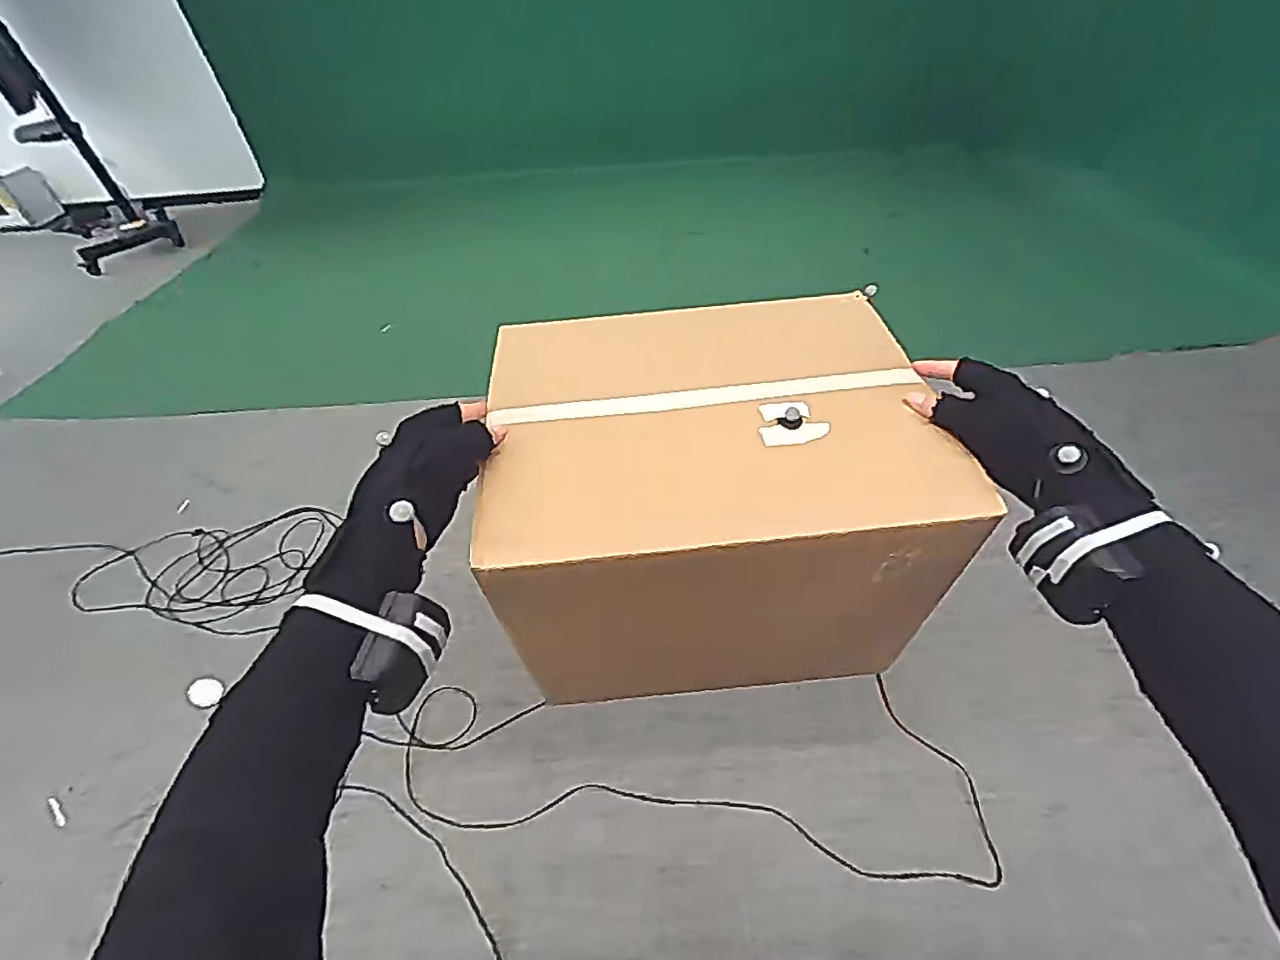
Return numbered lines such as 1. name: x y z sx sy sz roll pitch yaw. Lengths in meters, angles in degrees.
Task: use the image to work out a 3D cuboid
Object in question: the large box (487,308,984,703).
1. large box: 0.068 0.033 0.628 0.408 0.320 0.320 -5 49 -2
